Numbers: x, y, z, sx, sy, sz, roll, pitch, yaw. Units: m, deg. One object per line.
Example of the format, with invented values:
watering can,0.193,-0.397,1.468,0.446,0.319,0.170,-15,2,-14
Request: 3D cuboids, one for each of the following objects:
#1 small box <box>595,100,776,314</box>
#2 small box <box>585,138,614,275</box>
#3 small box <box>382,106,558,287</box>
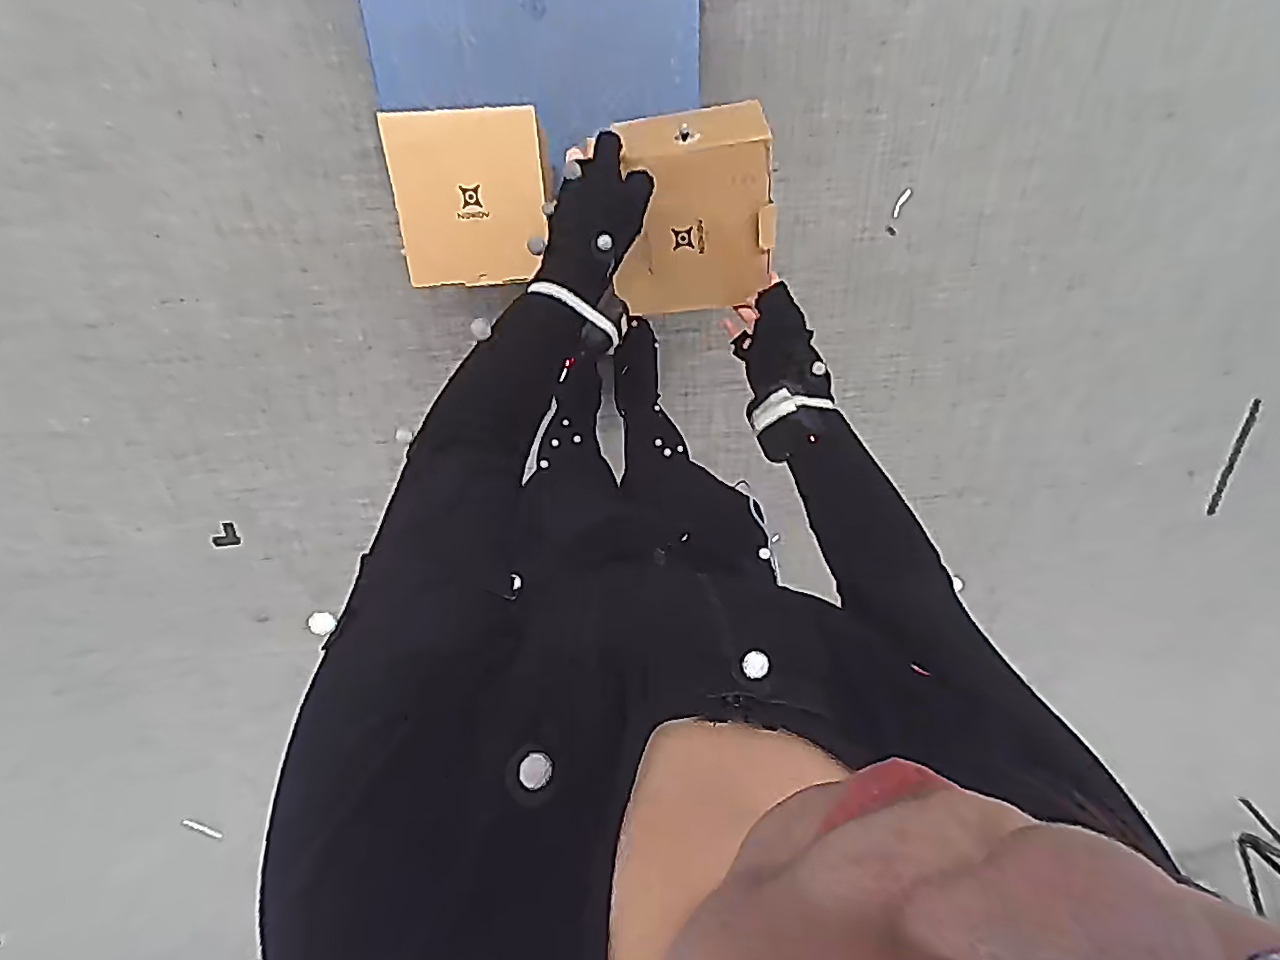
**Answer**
small box,0.058,-0.313,0.622,0.179,0.176,0.168,-3,135,10
small box,0.000,-0.419,0.843,0.168,0.176,0.179,-3,115,-5
small box,-0.195,-0.344,0.676,0.168,0.176,0.179,-5,115,-4
